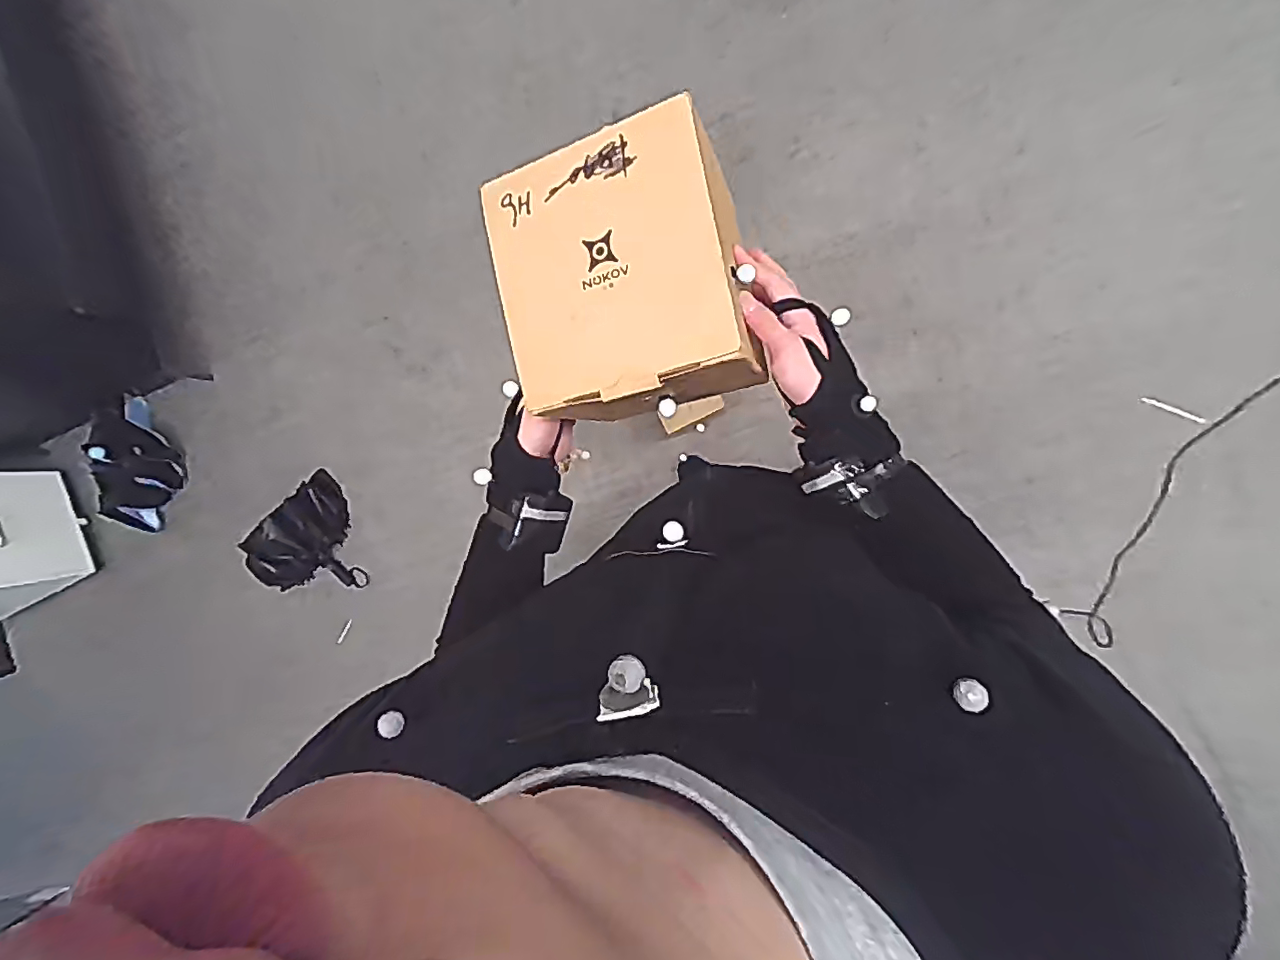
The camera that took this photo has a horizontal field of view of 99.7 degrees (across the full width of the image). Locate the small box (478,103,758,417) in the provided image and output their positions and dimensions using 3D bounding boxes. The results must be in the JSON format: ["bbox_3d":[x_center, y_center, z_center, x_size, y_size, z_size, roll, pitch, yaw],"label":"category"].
[{"bbox_3d":[-0.003,-0.156,0.456,0.168,0.176,0.179,-12,92,19],"label":"small box"}]

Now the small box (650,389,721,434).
[{"bbox_3d":[0.112,-0.235,1.470,0.168,0.176,0.179,-25,88,12],"label":"small box"}]
